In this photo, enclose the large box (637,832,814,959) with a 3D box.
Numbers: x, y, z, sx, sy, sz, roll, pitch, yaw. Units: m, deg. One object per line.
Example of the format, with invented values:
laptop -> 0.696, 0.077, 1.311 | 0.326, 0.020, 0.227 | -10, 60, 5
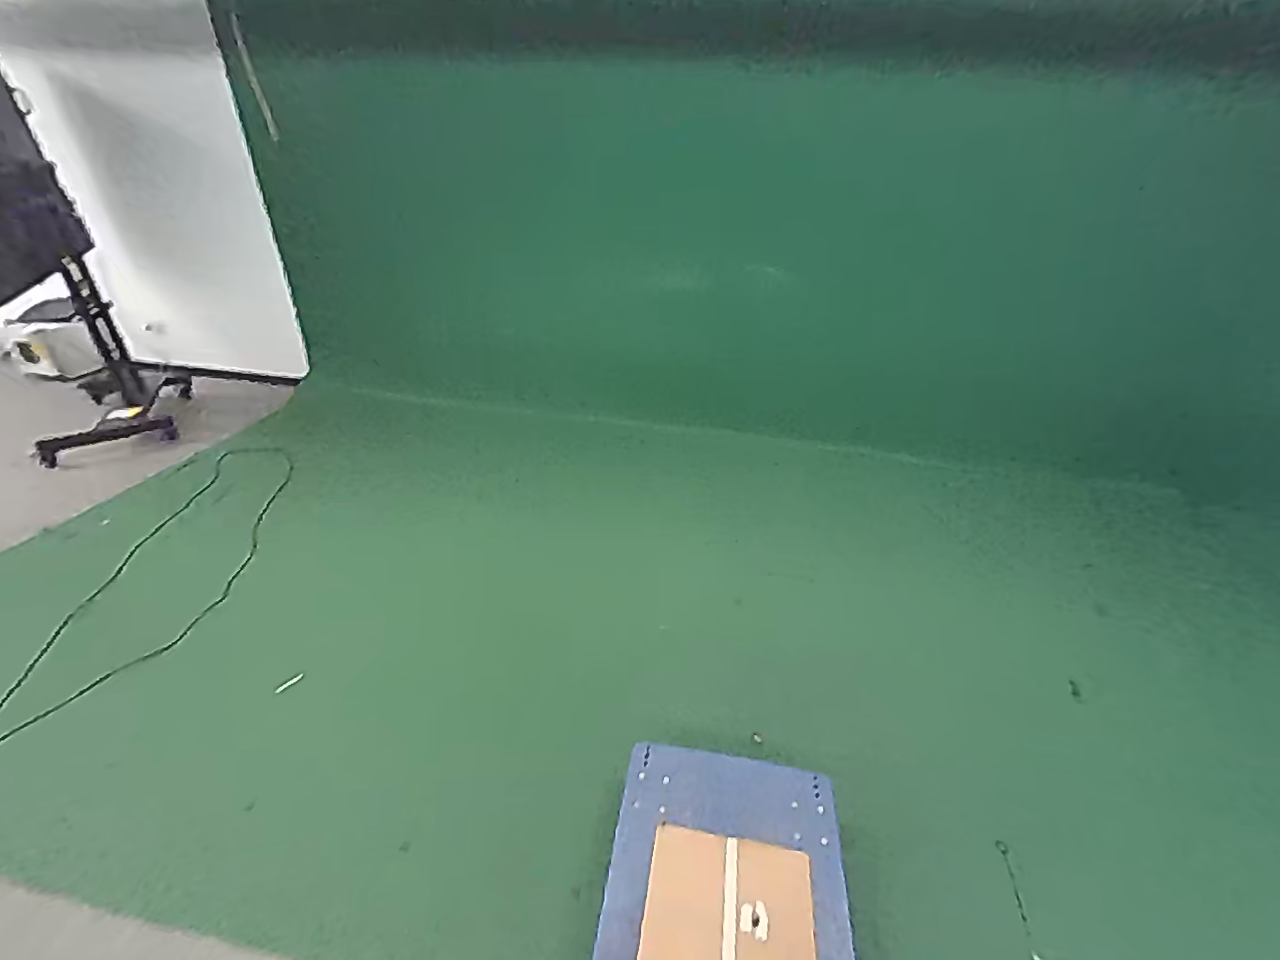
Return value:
large box -> 0.146, 0.975, 1.014 | 0.320, 0.320, 0.408 | 7, 30, 7
